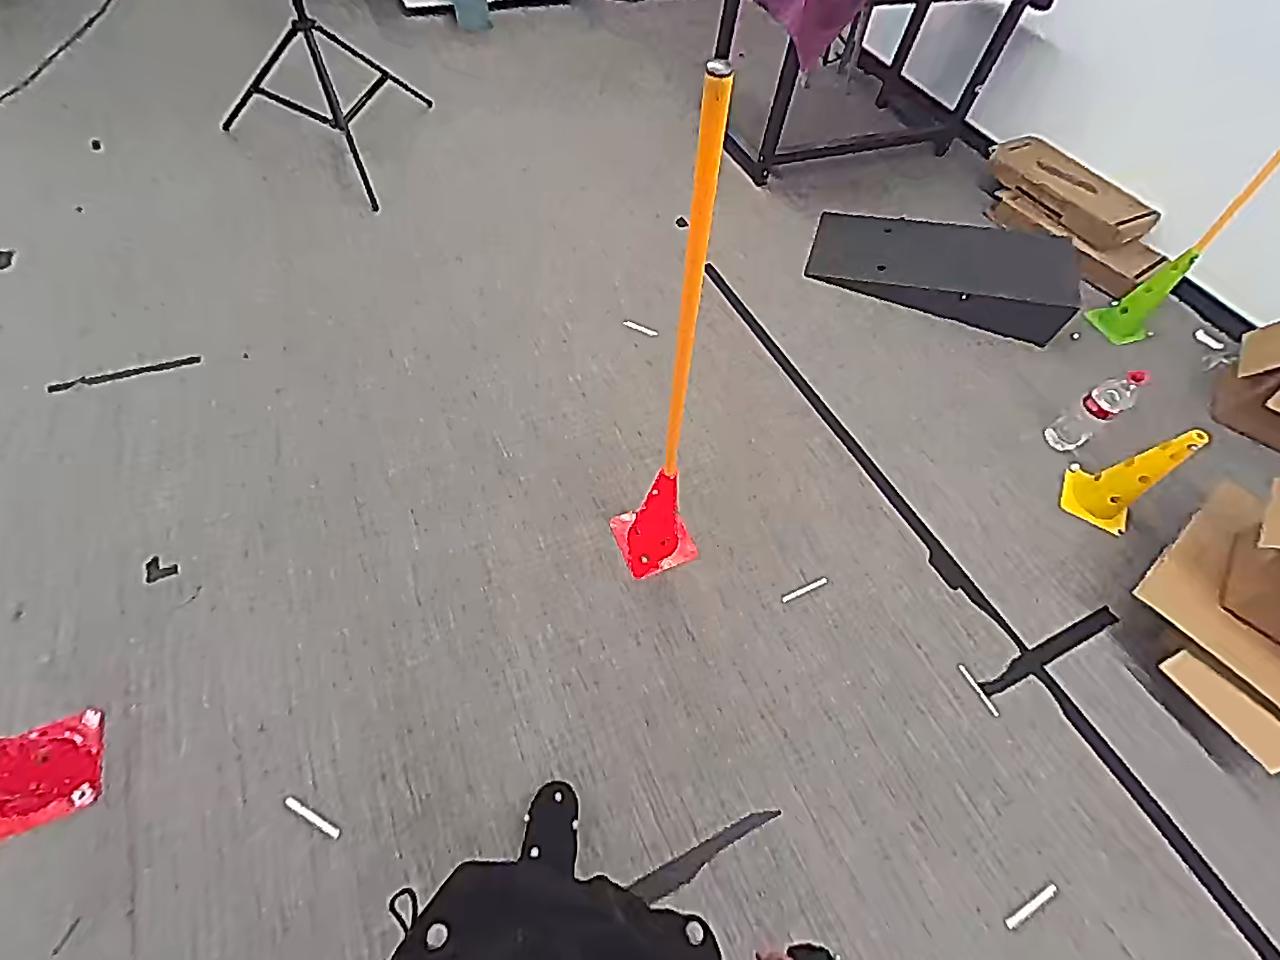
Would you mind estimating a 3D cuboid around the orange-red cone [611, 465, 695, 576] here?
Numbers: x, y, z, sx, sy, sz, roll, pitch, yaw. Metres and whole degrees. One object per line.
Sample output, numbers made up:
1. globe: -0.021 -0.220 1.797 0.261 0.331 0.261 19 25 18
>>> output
1. orange-red cone: 0.051 0.071 1.377 0.199 0.360 0.198 -16 62 -16
